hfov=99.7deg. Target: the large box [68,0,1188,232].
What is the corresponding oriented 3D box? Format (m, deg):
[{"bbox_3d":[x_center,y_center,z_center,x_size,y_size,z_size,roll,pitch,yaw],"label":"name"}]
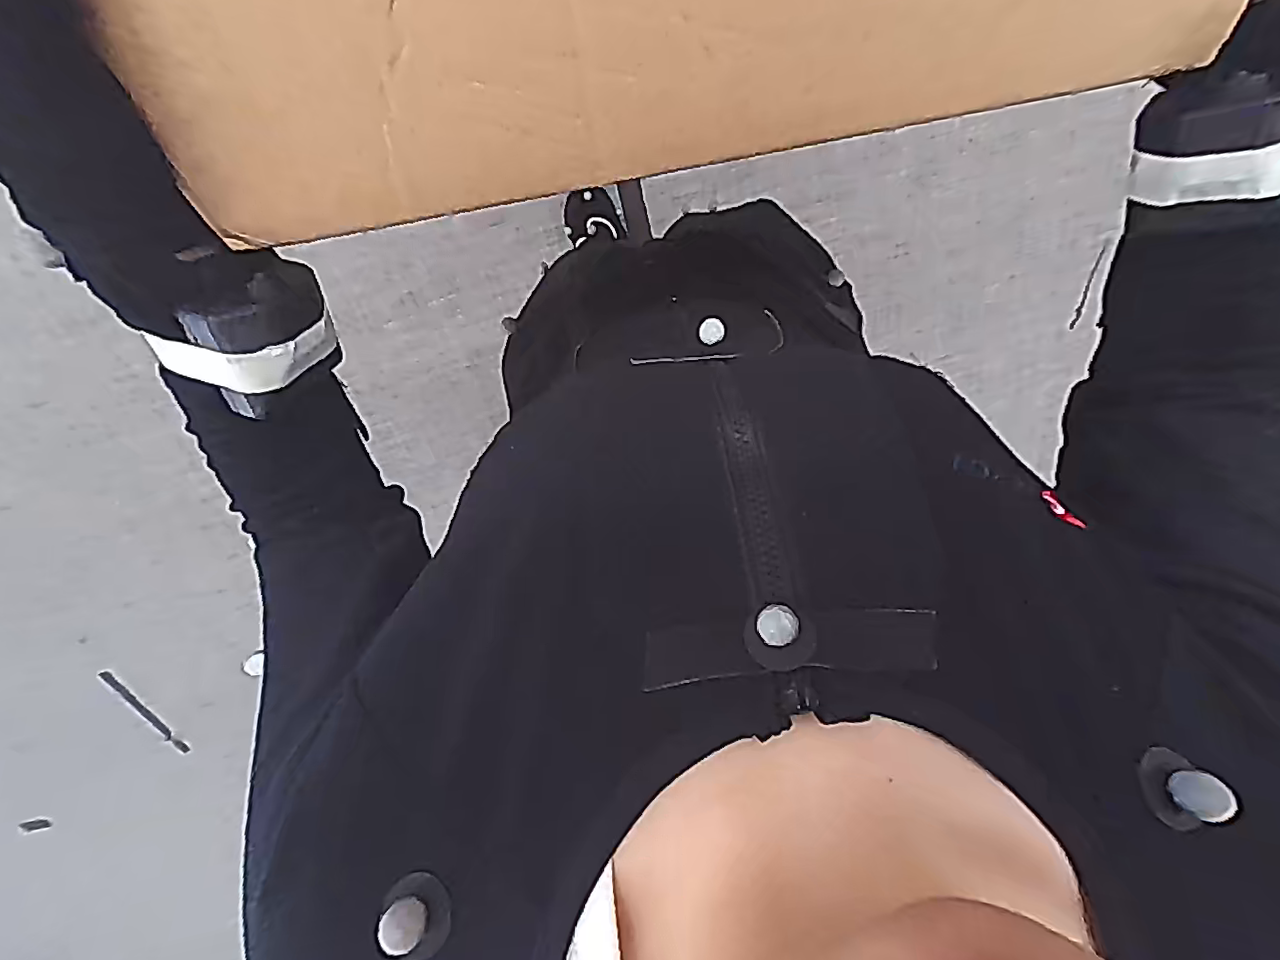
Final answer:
[{"bbox_3d":[-0.016,-0.352,0.205,0.408,0.320,0.320,-9,140,3],"label":"large box"}]
